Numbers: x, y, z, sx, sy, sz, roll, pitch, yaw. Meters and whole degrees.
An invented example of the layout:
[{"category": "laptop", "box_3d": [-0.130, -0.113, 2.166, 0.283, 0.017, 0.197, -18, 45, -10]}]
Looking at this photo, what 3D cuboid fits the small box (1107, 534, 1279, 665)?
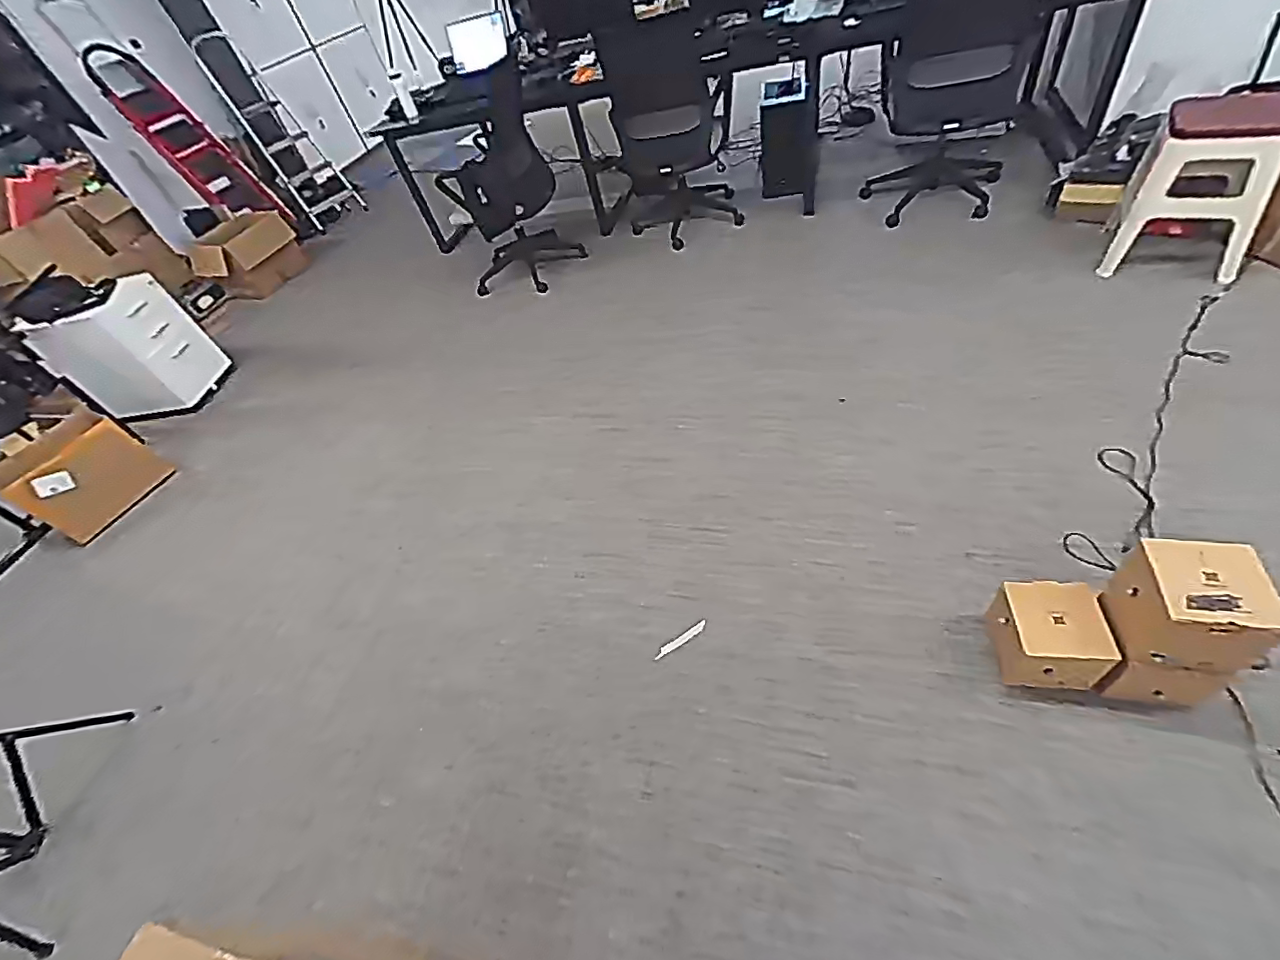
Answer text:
[{"category": "small box", "box_3d": [1.023, 0.225, 1.010, 0.168, 0.176, 0.179, 3, 49, 19]}]
